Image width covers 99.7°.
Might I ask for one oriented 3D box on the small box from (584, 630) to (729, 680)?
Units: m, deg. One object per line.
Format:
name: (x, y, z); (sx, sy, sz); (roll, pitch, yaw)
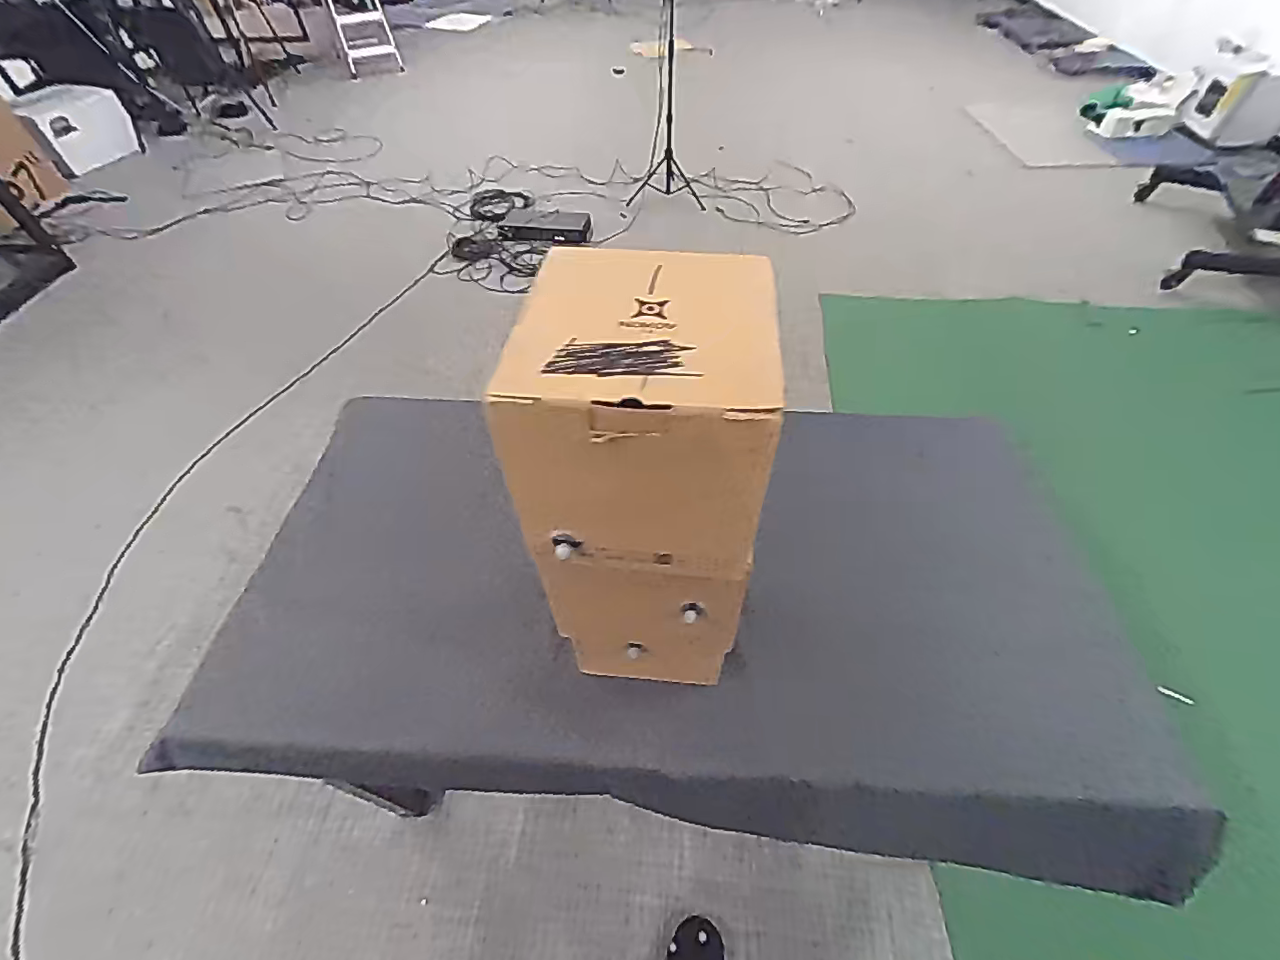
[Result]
small box: (0.021, 0.141, 0.686); (0.179, 0.176, 0.168); (2, 49, 2)

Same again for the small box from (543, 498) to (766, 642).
small box: (0.014, 0.048, 0.529); (0.179, 0.176, 0.168); (1, 50, 2)

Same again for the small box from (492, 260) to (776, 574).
small box: (0.007, -0.046, 0.415); (0.168, 0.176, 0.179); (5, 49, 5)
